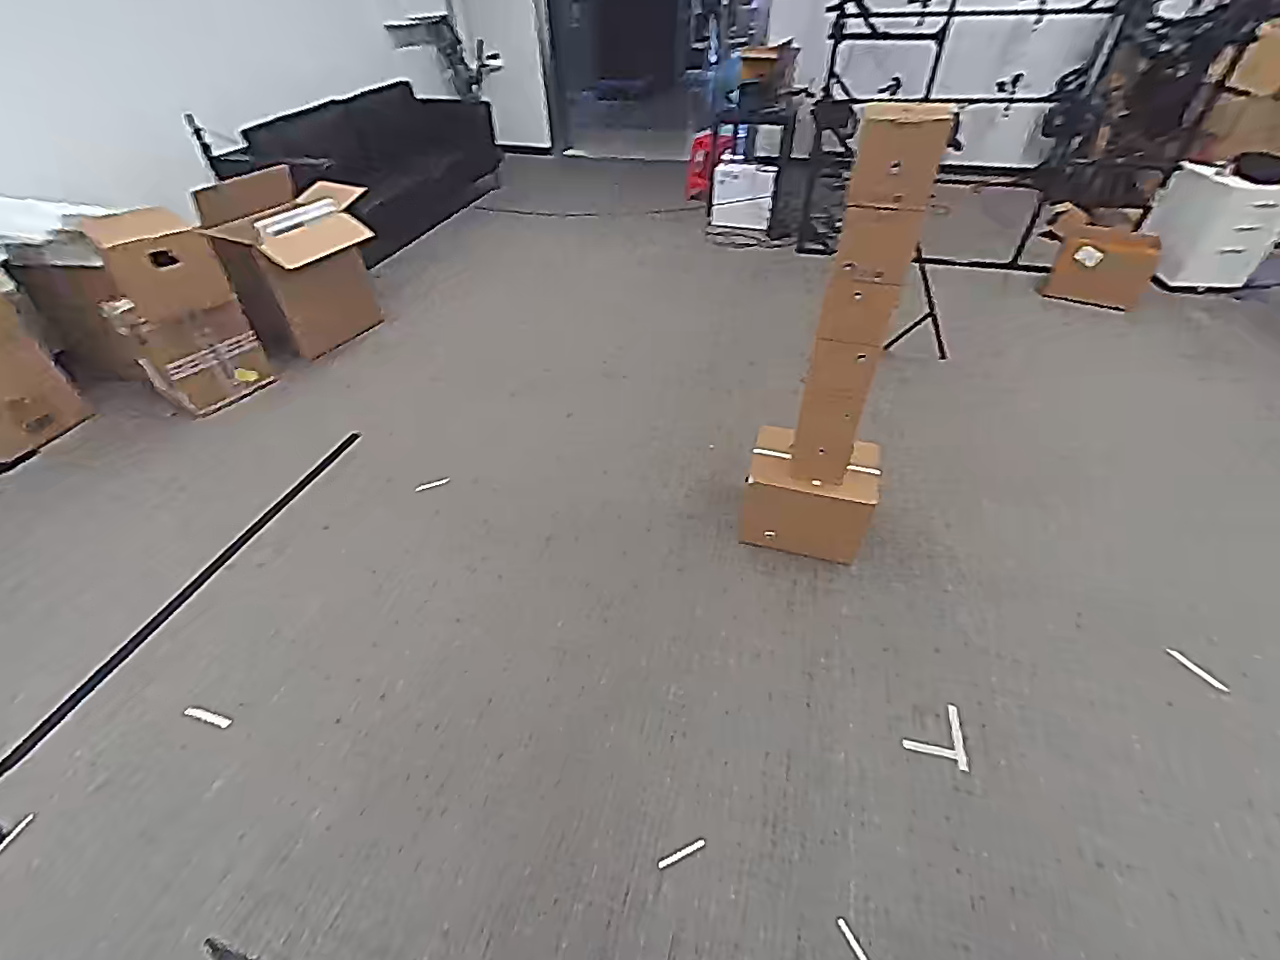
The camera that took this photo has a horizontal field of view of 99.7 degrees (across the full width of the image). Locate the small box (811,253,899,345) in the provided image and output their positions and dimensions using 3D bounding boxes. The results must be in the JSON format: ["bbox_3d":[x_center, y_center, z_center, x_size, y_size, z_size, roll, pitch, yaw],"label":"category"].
[{"bbox_3d":[0.561,-0.470,1.414,0.179,0.176,0.168,12,46,15],"label":"small box"}]

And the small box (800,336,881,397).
[{"bbox_3d":[0.564,-0.352,1.524,0.179,0.176,0.168,12,45,15],"label":"small box"}]

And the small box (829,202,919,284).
[{"bbox_3d":[0.560,-0.589,1.301,0.168,0.176,0.179,12,45,15],"label":"small box"}]

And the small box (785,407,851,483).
[{"bbox_3d":[0.574,-0.111,1.748,0.179,0.176,0.168,10,46,11],"label":"small box"}]

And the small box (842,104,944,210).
[{"bbox_3d":[0.549,-0.708,1.188,0.168,0.176,0.179,11,46,14],"label":"small box"}]
